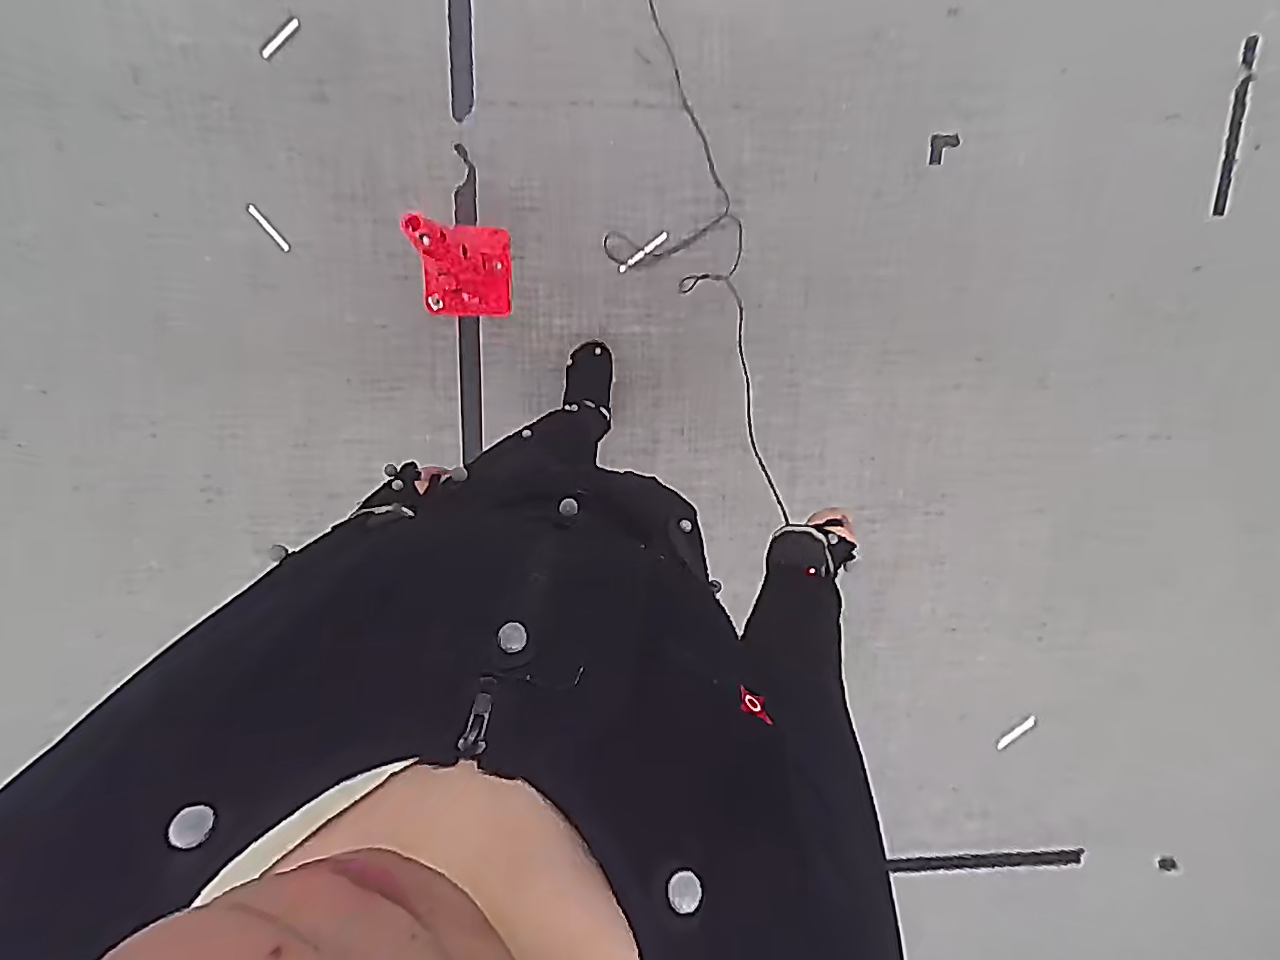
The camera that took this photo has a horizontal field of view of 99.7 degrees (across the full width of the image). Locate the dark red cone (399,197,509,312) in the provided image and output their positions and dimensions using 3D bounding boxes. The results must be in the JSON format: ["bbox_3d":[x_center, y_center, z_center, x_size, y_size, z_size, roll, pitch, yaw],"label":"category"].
[{"bbox_3d":[-0.390,-0.464,1.070,0.201,0.394,0.202,-1,98,-4],"label":"dark red cone"}]
